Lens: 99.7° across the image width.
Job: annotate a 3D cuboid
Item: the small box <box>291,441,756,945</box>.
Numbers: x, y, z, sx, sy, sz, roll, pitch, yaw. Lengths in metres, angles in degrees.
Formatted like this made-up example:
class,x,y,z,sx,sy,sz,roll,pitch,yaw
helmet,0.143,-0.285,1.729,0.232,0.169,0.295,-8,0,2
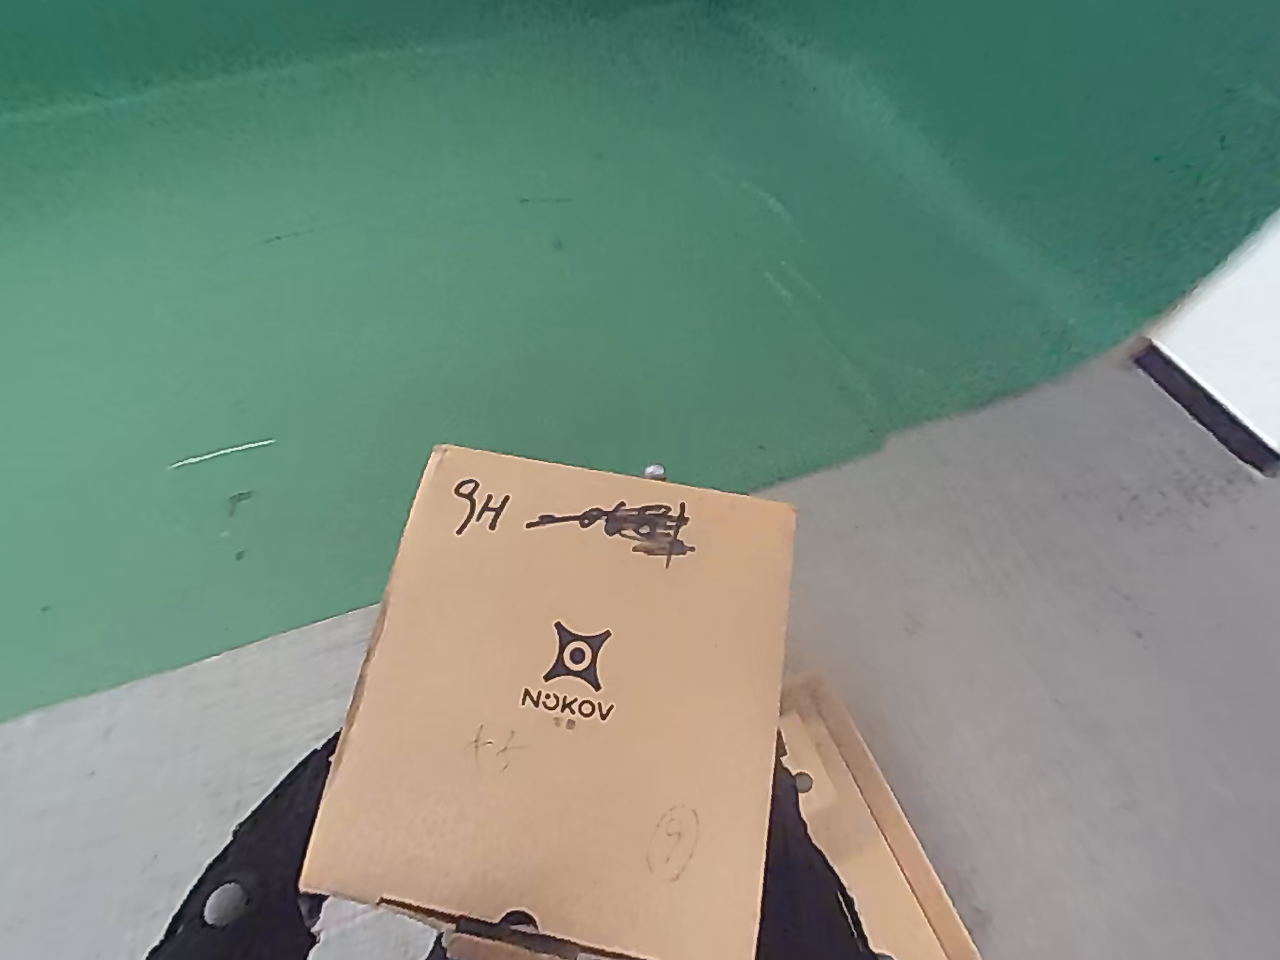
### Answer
class,x,y,z,sx,sy,sz,roll,pitch,yaw
small box,-0.041,0.097,0.302,0.168,0.176,0.179,9,75,2
